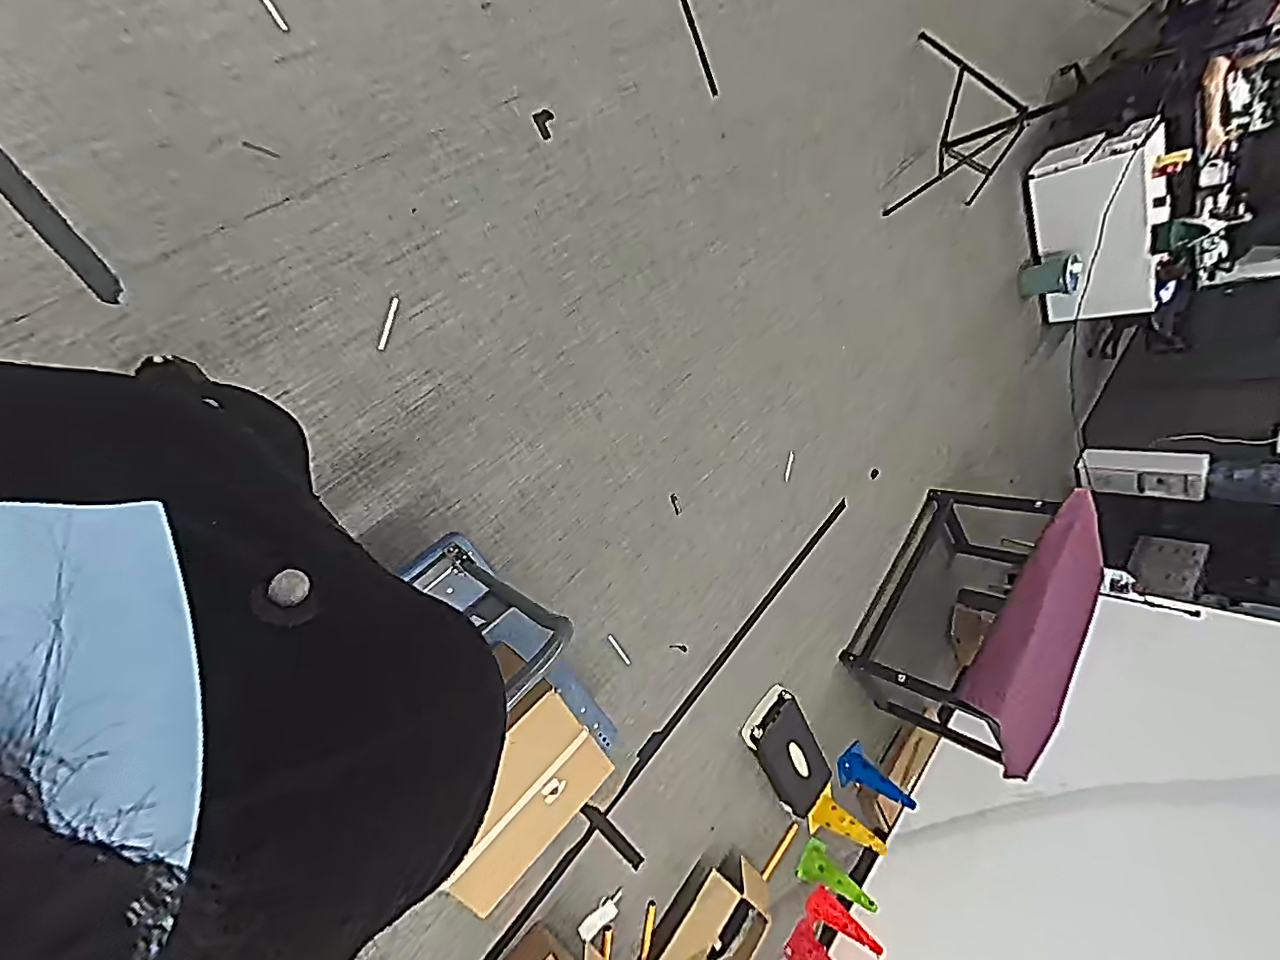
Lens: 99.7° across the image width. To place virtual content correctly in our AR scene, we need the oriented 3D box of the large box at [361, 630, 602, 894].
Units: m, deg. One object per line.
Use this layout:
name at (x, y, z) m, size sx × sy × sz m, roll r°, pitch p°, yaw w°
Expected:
large box at (-0.379, 0.648, 1.308) m, size 0.408 × 0.320 × 0.320 m, roll -42°, pitch 119°, yaw -26°
